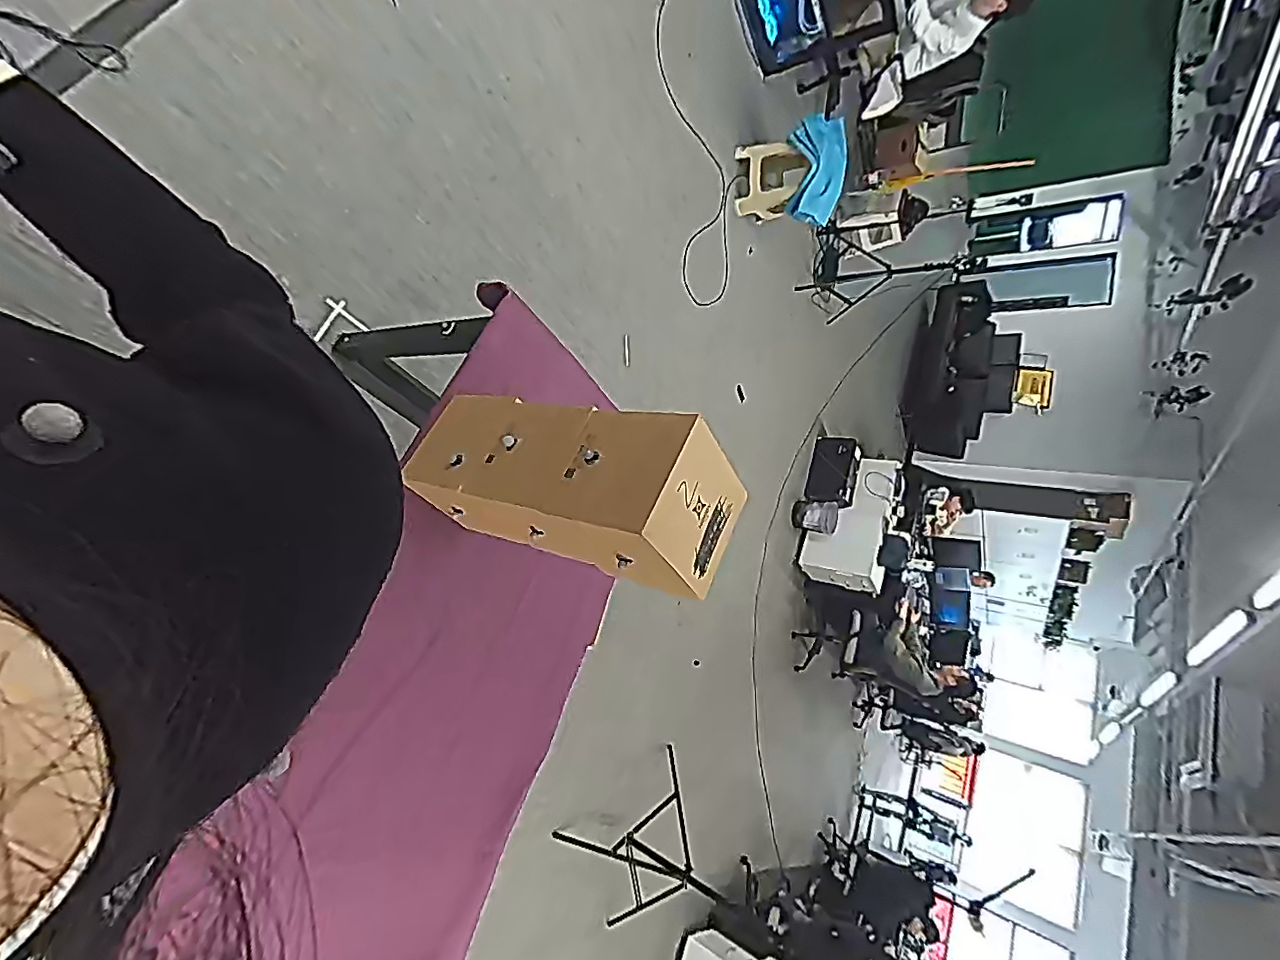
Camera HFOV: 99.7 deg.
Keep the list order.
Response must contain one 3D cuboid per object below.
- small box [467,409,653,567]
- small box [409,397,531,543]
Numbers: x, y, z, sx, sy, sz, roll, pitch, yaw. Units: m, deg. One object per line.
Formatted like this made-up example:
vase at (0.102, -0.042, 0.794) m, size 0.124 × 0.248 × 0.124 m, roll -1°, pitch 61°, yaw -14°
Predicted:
small box at (-0.115, 0.005, 0.804) m, size 0.179 × 0.176 × 0.168 m, roll 49°, pitch 58°, yaw -44°
small box at (-0.249, -0.020, 0.897) m, size 0.168 × 0.176 × 0.179 m, roll 51°, pitch 57°, yaw -45°
